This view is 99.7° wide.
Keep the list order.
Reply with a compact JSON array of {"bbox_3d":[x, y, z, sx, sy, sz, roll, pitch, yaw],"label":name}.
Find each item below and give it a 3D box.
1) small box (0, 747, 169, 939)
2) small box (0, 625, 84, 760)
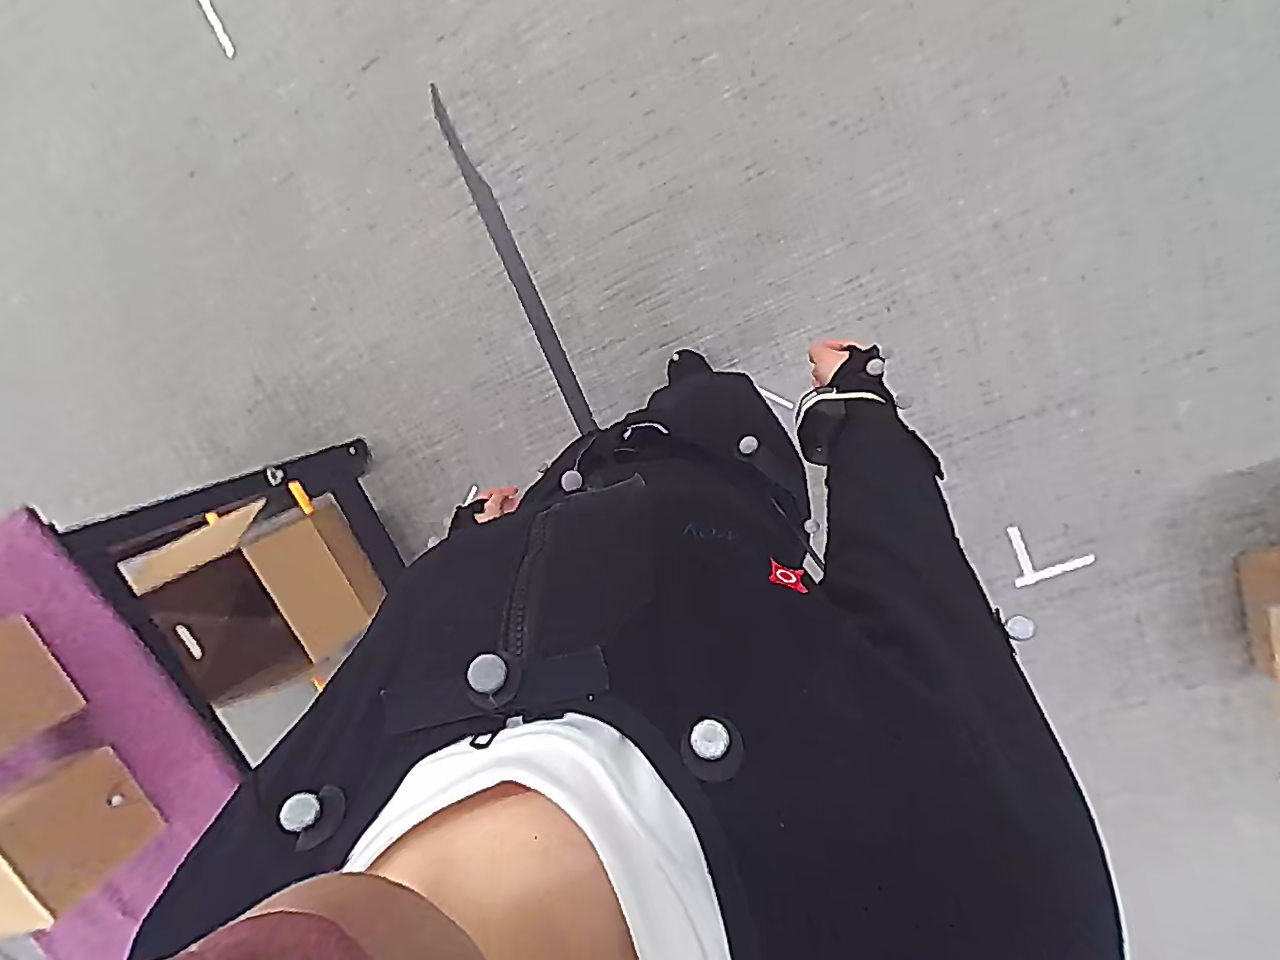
[{"bbox_3d":[-0.907,0.557,0.832,0.168,0.176,0.179,-21,102,15],"label":"small box"},{"bbox_3d":[-0.994,0.332,0.785,0.168,0.176,0.179,-21,101,16],"label":"small box"}]
